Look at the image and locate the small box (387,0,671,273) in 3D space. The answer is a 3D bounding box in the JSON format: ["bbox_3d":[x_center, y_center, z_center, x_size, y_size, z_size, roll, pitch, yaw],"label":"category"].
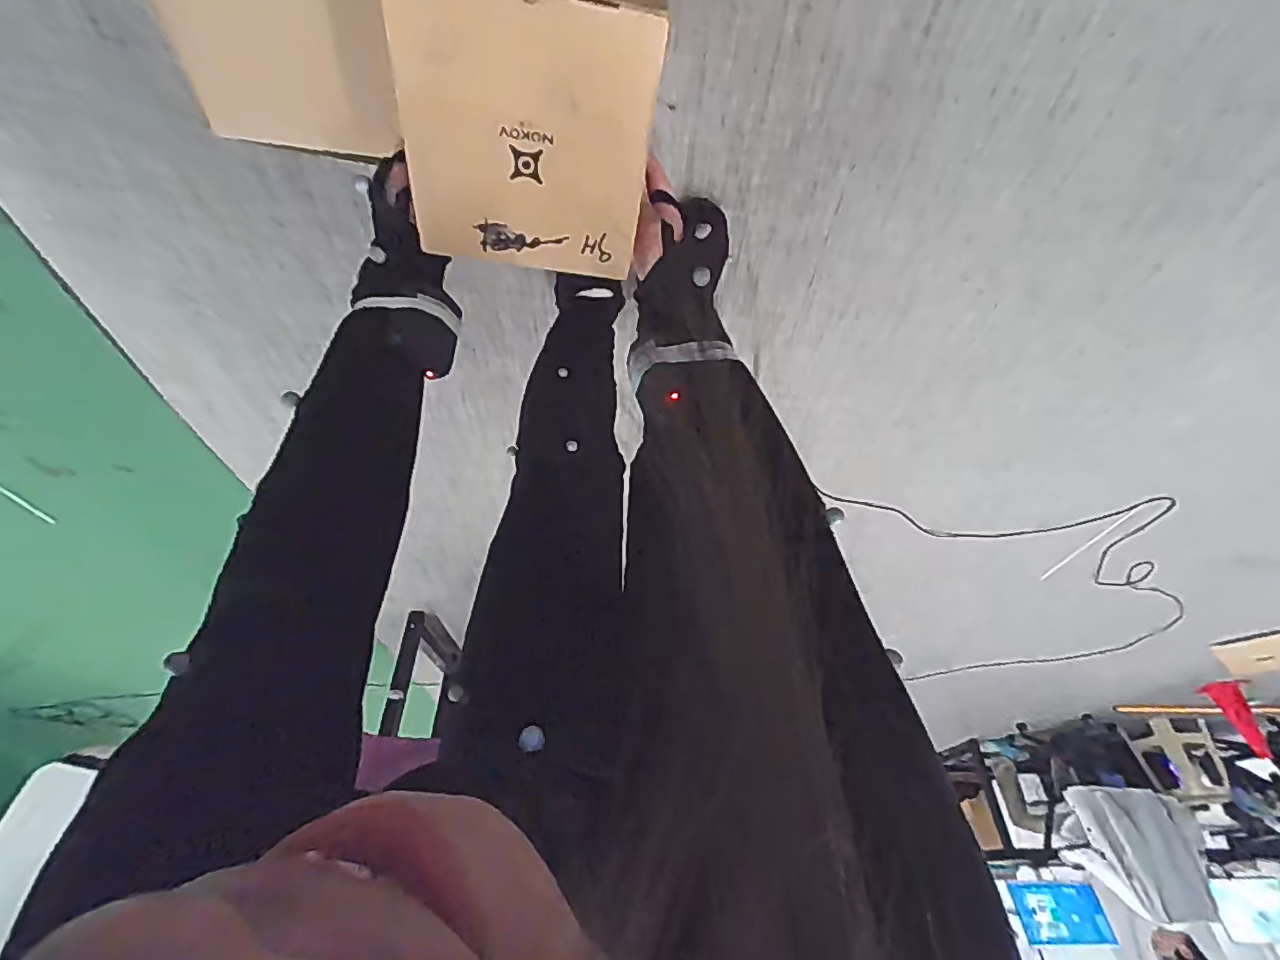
[{"bbox_3d":[-0.079,-0.293,0.418,0.168,0.176,0.179,5,141,-9],"label":"small box"}]
